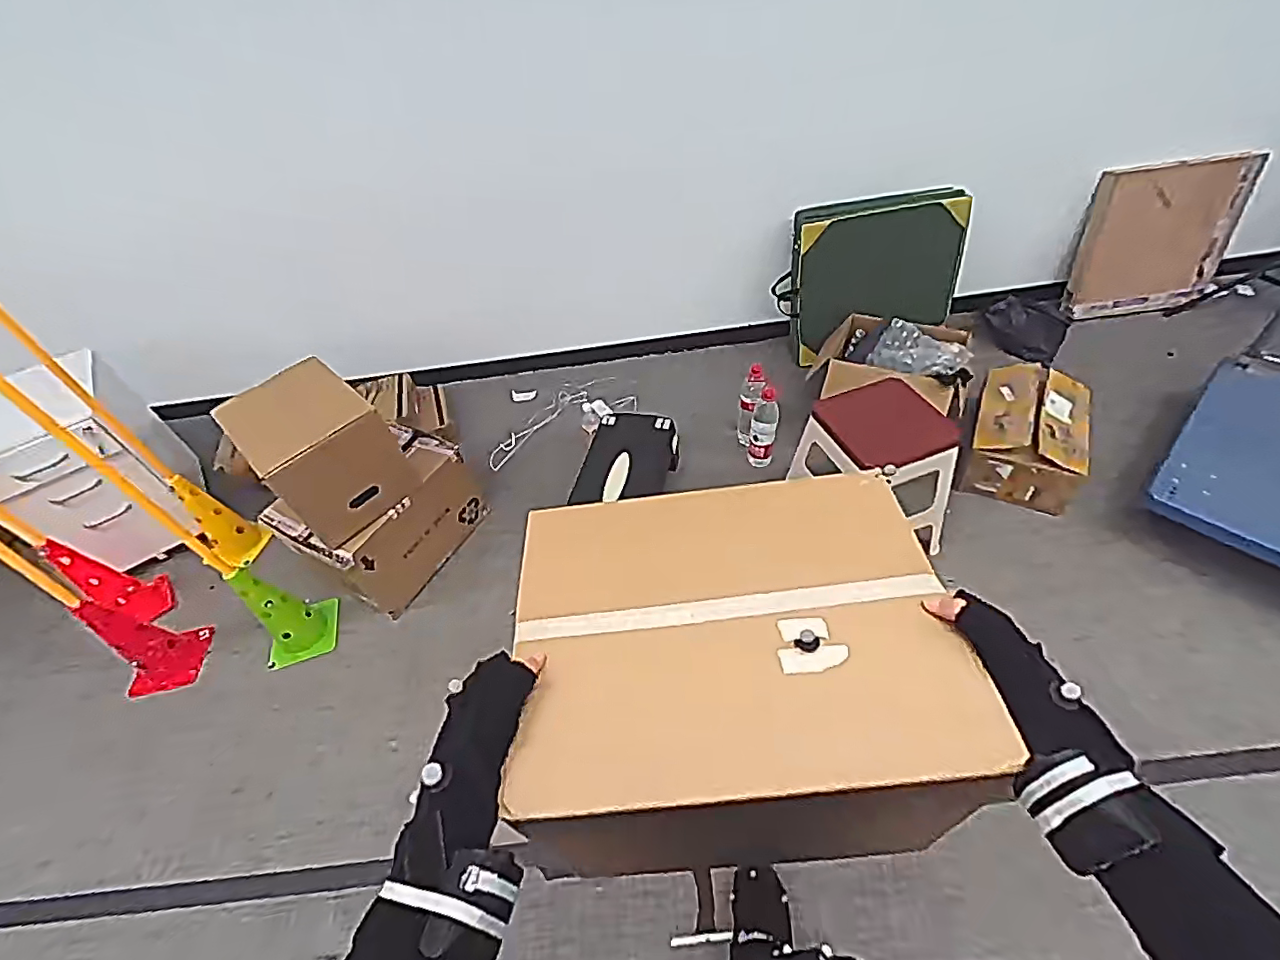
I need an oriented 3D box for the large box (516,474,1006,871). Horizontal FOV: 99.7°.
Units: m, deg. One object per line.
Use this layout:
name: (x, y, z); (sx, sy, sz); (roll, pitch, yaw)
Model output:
large box: (0.100, 0.230, 0.638); (0.408, 0.320, 0.320); (-7, 46, 3)
